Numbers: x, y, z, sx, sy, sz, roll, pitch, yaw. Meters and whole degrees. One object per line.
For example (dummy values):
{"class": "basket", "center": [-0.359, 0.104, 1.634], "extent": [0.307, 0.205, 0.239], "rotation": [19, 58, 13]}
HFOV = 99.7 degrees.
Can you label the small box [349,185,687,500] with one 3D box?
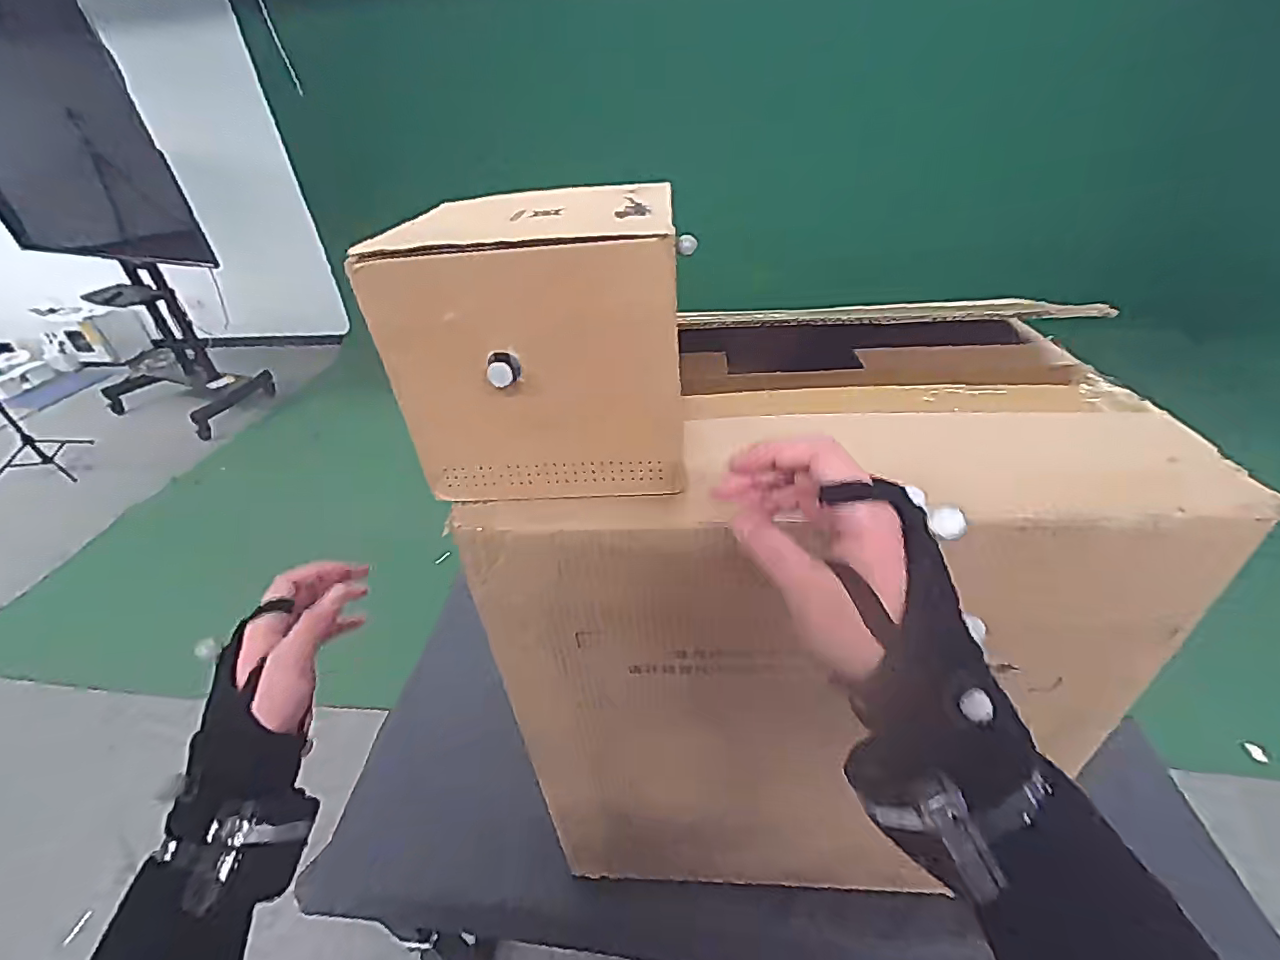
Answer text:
{"class": "small box", "center": [-0.059, -0.098, 0.390], "extent": [0.179, 0.176, 0.168], "rotation": [-3, 38, 5]}
